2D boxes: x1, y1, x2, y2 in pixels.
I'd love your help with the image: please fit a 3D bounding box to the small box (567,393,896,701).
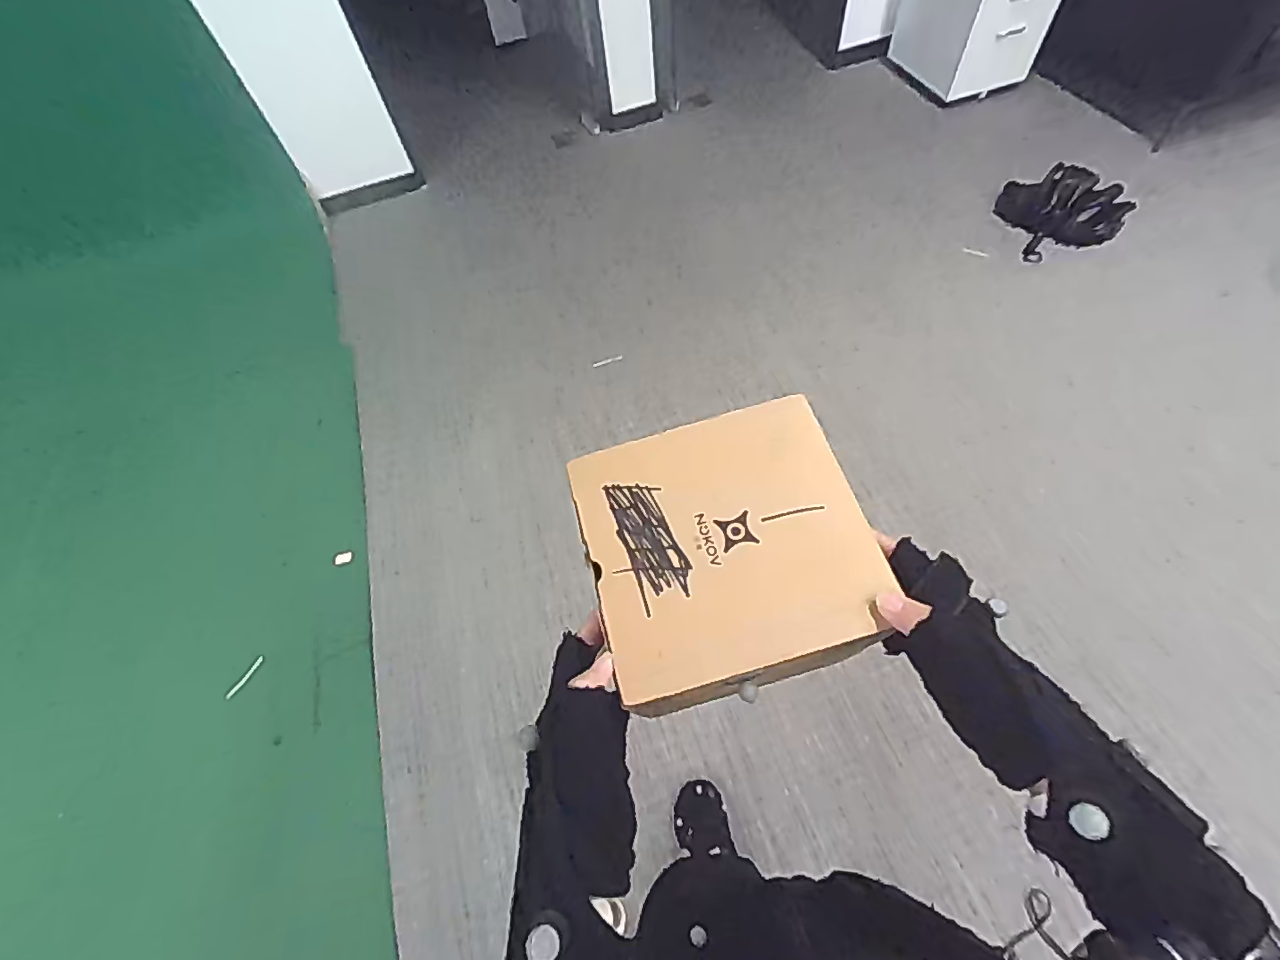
[{"bbox_3d":[0.059,0.064,0.423,0.179,0.176,0.168,-16,64,-2],"label":"small box"}]
